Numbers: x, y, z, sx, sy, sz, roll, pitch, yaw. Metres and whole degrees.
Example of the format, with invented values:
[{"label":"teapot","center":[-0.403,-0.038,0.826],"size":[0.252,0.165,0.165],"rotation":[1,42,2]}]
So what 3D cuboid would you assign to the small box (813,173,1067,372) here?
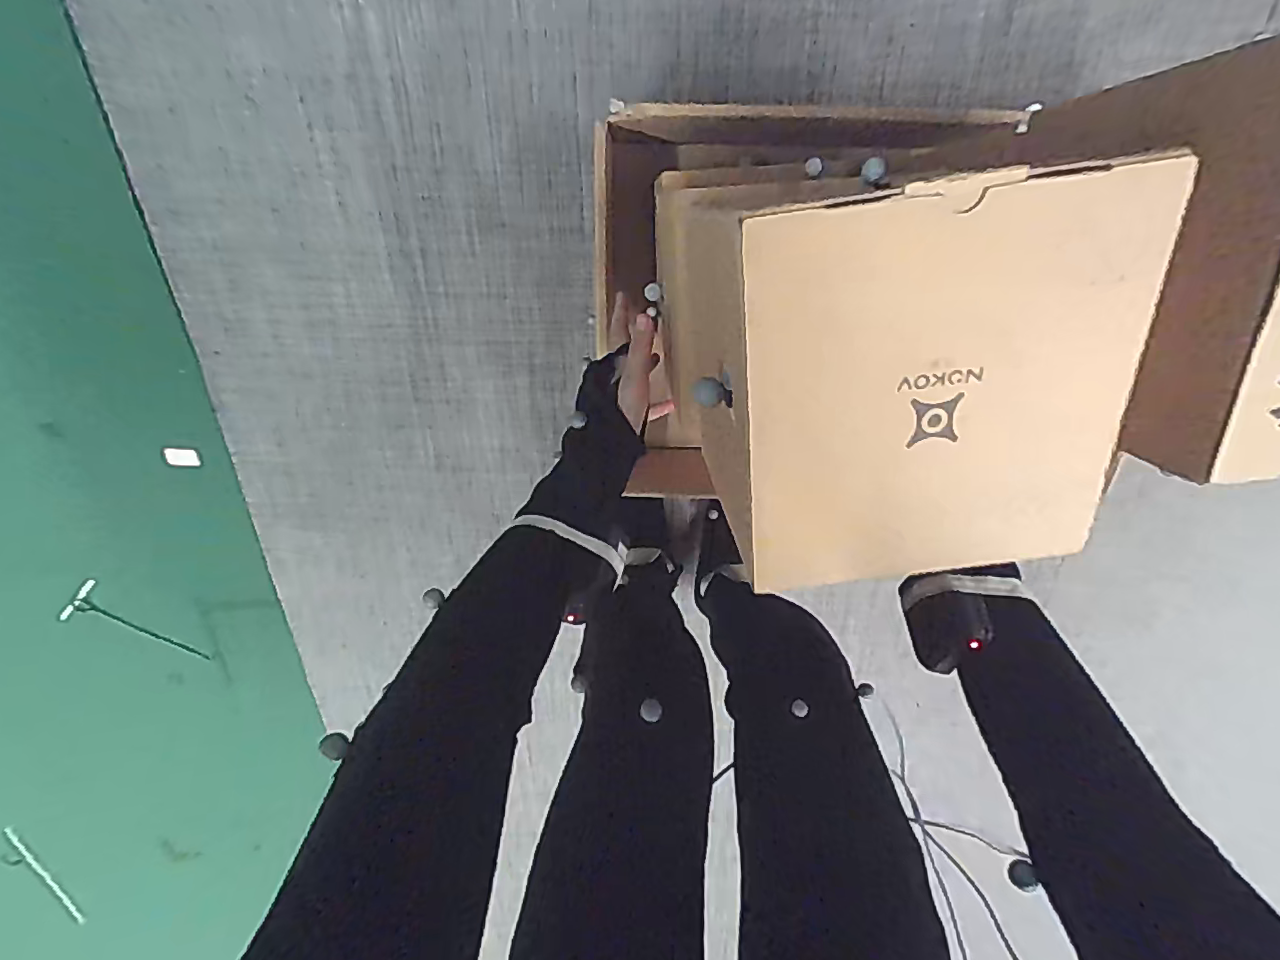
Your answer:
[{"label":"small box","center":[0.298,-0.225,0.586],"size":[0.168,0.176,0.179],"rotation":[2,116,2]}]
